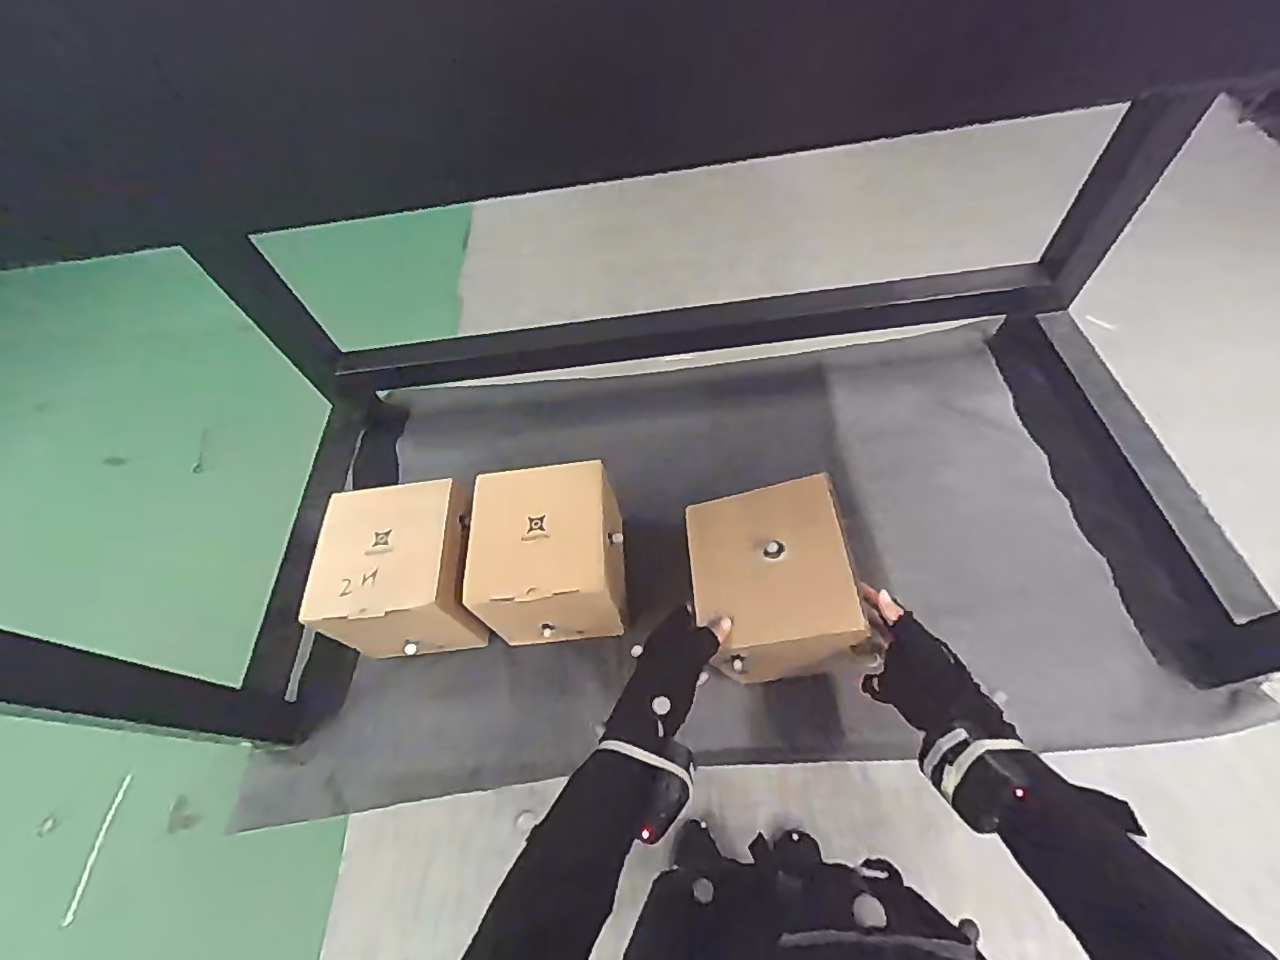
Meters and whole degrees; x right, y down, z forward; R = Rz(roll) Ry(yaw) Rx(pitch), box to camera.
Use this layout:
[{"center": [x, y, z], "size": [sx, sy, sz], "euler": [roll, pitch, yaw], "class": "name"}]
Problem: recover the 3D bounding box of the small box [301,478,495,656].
[{"center": [-0.304, 0.121, 0.725], "size": [0.168, 0.176, 0.179], "euler": [-8, 57, 5], "class": "small box"}]
